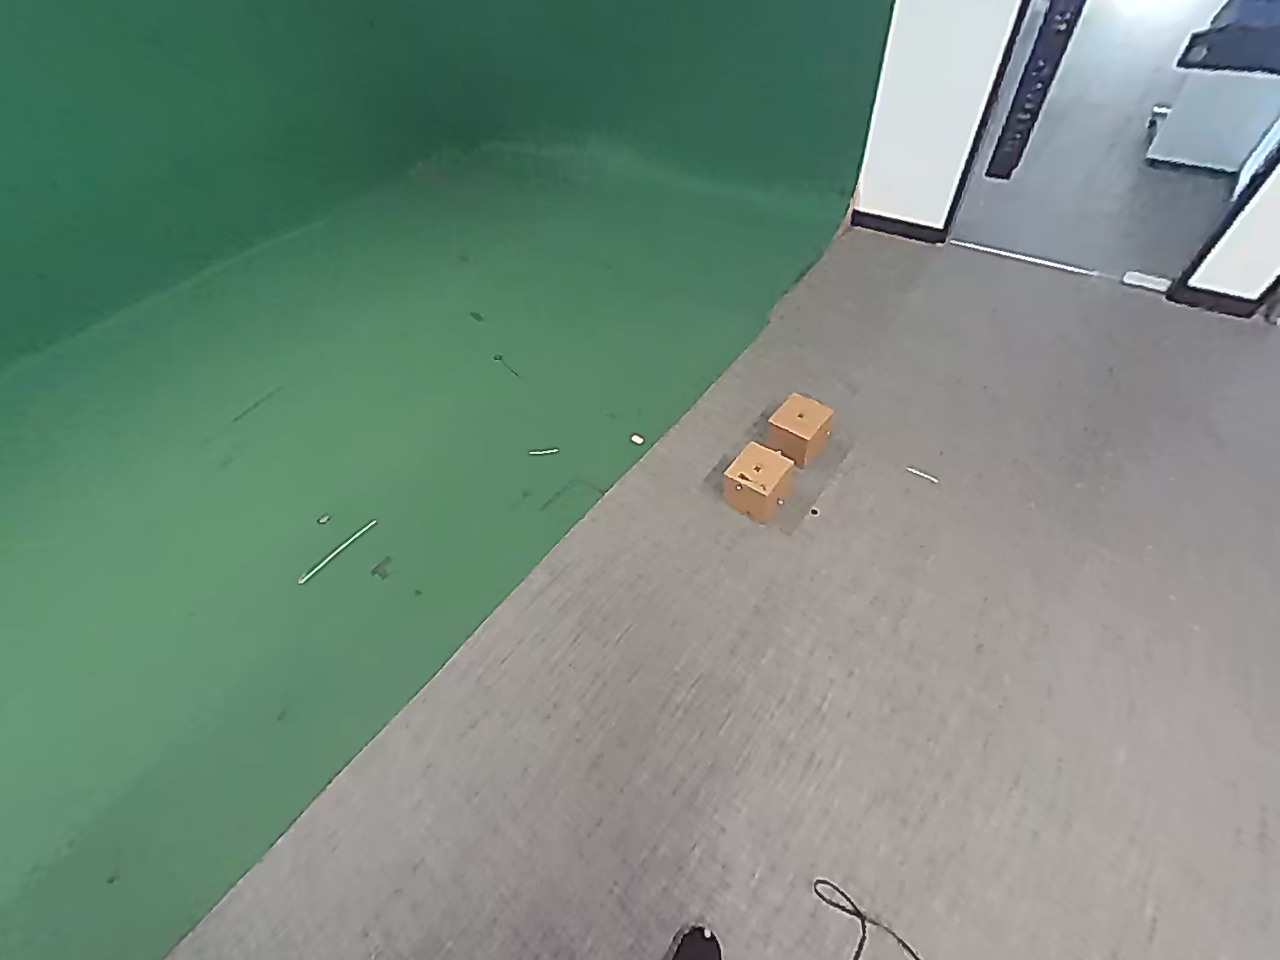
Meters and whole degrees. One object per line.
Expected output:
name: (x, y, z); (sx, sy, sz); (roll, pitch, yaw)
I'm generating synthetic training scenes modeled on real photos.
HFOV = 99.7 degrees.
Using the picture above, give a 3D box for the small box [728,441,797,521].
small box: (0.411, 0.005, 1.842); (0.168, 0.176, 0.179); (30, 61, 27)
